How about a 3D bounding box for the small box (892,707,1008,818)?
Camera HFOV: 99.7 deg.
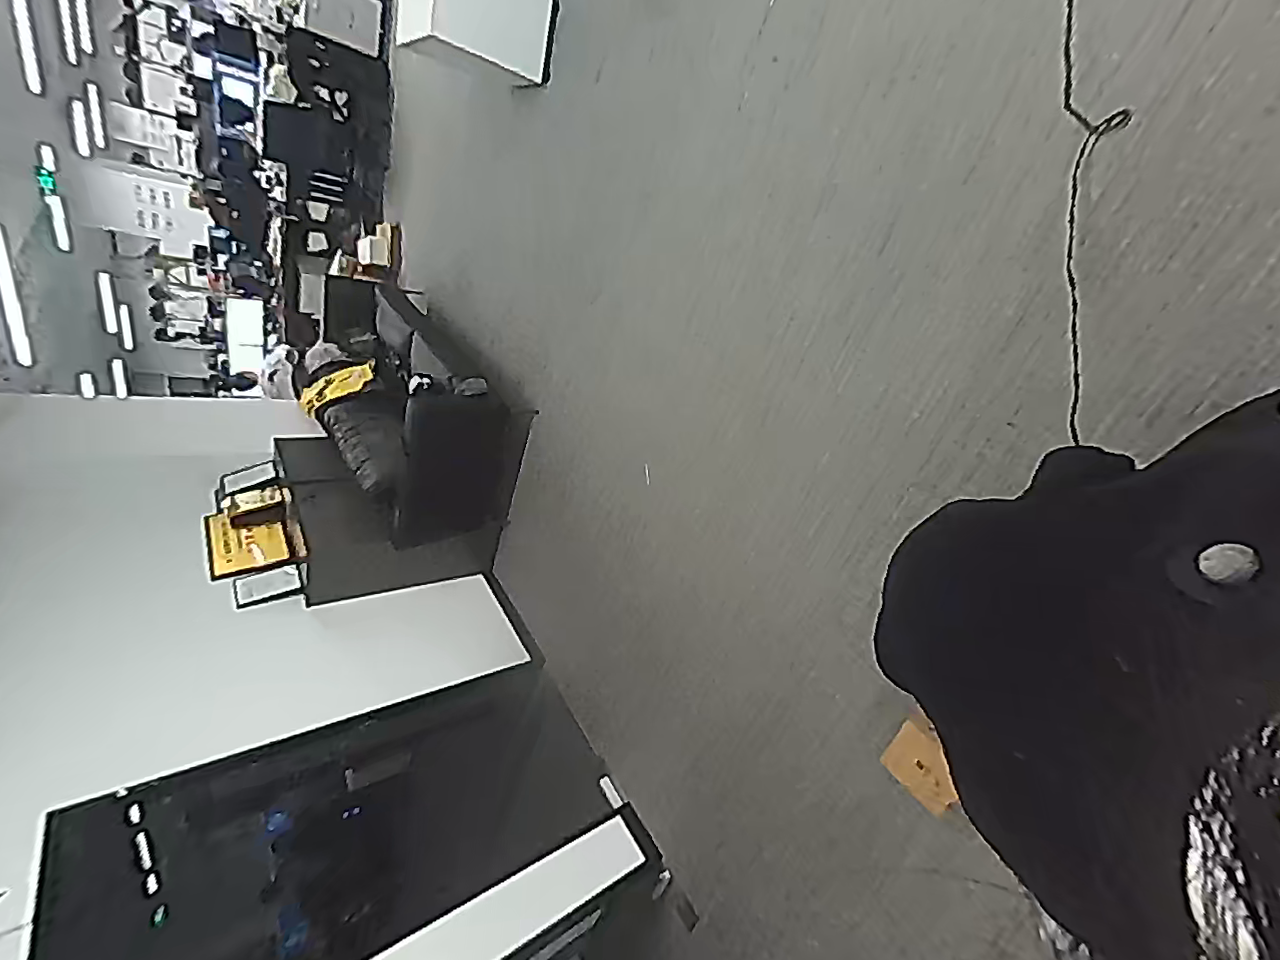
[{"bbox_3d":[0.807,0.722,1.409,0.179,0.176,0.168,40,124,41],"label":"small box"}]
